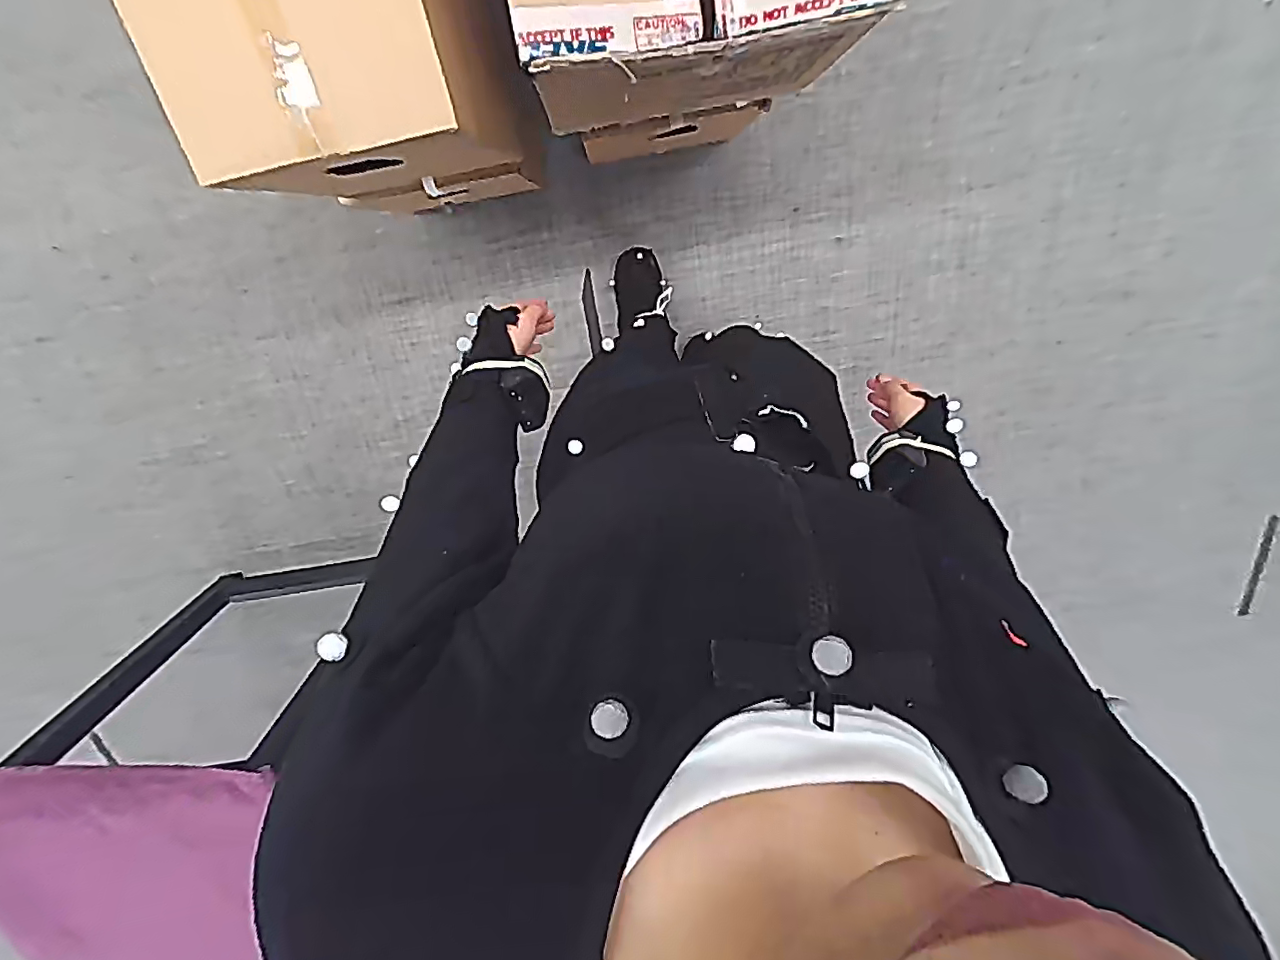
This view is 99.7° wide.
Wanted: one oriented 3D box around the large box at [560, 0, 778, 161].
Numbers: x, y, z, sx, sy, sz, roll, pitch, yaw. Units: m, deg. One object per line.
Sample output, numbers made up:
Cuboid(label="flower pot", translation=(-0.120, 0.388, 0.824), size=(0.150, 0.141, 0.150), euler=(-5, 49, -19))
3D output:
Cuboid(label="large box", translation=(0.024, -0.815, 0.920), size=(0.320, 0.320, 0.408), euler=(-10, 115, 2))
